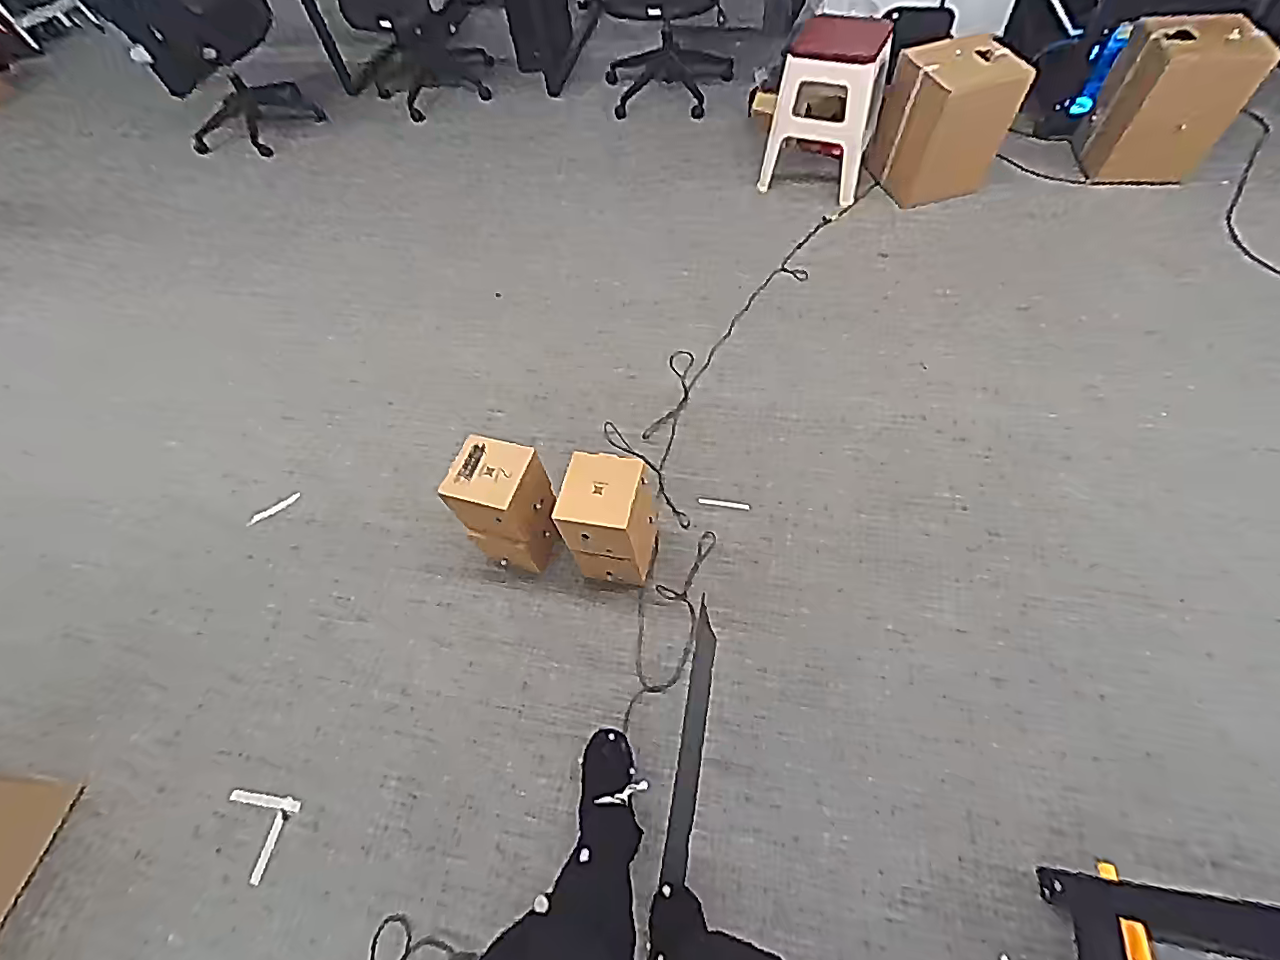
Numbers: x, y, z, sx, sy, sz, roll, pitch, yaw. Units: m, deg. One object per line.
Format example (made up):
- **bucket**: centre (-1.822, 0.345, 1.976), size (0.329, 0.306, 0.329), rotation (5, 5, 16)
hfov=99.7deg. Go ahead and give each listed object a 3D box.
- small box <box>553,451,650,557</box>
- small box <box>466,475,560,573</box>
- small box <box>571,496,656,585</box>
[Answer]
- **small box**: centre (-0.078, 0.059, 1.225), size (0.168, 0.176, 0.179), rotation (7, 59, 12)
- **small box**: centre (-0.317, 0.117, 1.408), size (0.168, 0.176, 0.179), rotation (12, 62, 14)
- **small box**: centre (-0.058, 0.144, 1.362), size (0.168, 0.176, 0.179), rotation (7, 60, 12)
